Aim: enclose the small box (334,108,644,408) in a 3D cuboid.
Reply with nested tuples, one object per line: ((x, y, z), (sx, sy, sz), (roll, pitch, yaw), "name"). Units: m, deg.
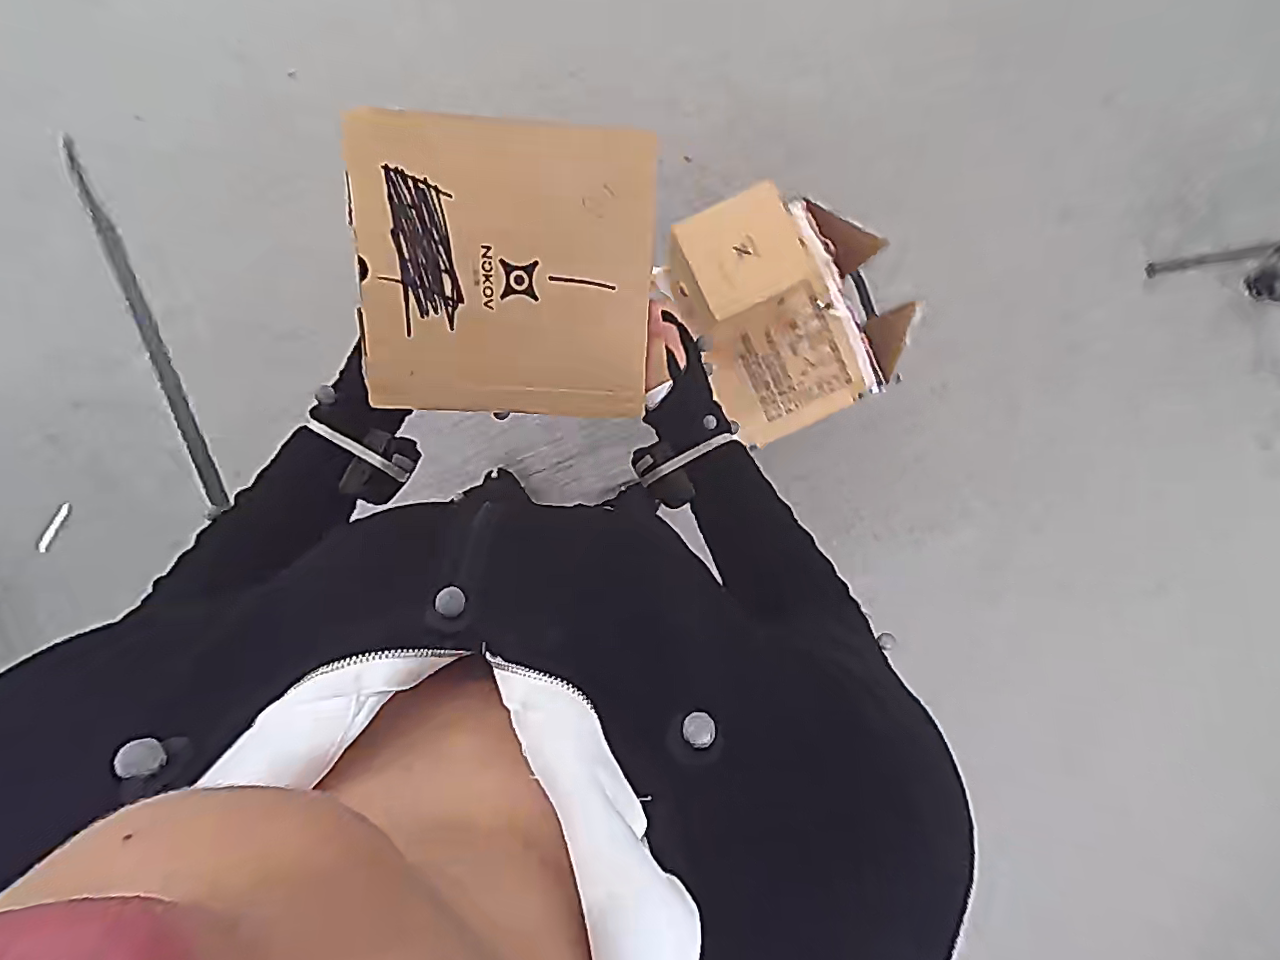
((-0.092, -0.152, 0.405), (0.179, 0.176, 0.168), (1, 109, -4), "small box")

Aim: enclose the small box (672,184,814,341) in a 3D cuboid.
((0.165, -0.361, 0.932), (0.179, 0.176, 0.168), (-25, 92, 2), "small box")
